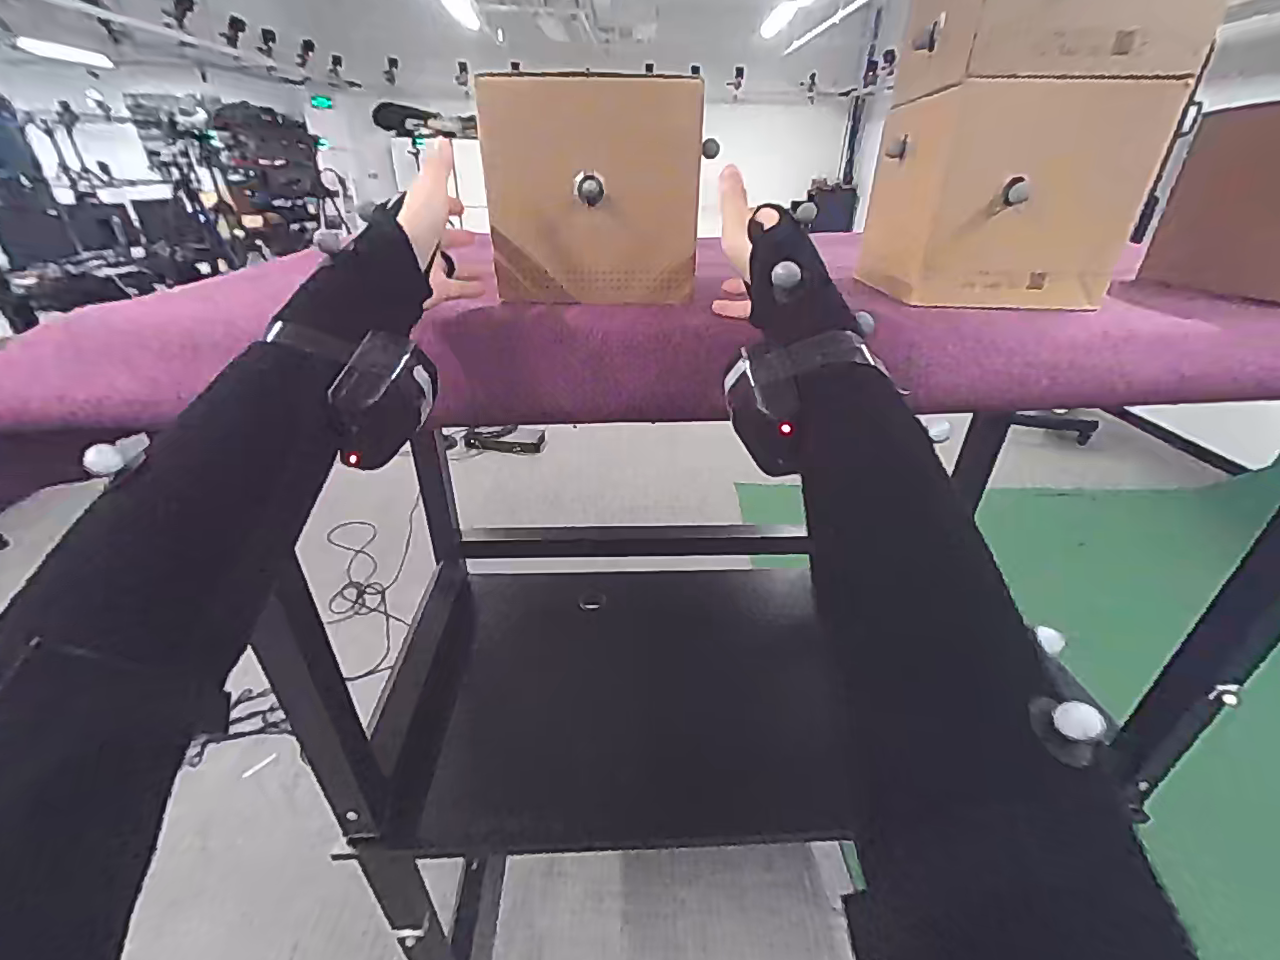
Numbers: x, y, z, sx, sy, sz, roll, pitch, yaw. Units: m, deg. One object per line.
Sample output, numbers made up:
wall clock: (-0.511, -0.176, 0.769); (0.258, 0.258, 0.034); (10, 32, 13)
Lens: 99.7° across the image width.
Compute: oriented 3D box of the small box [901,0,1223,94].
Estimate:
small box: (0.334, -0.411, 0.427); (0.168, 0.176, 0.179); (3, 29, 3)

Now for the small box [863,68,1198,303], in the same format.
small box: (0.329, -0.267, 0.506); (0.168, 0.176, 0.179); (3, 29, 2)

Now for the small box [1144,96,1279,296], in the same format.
small box: (0.671, -0.273, 0.526); (0.168, 0.176, 0.179); (-1, 28, -4)
